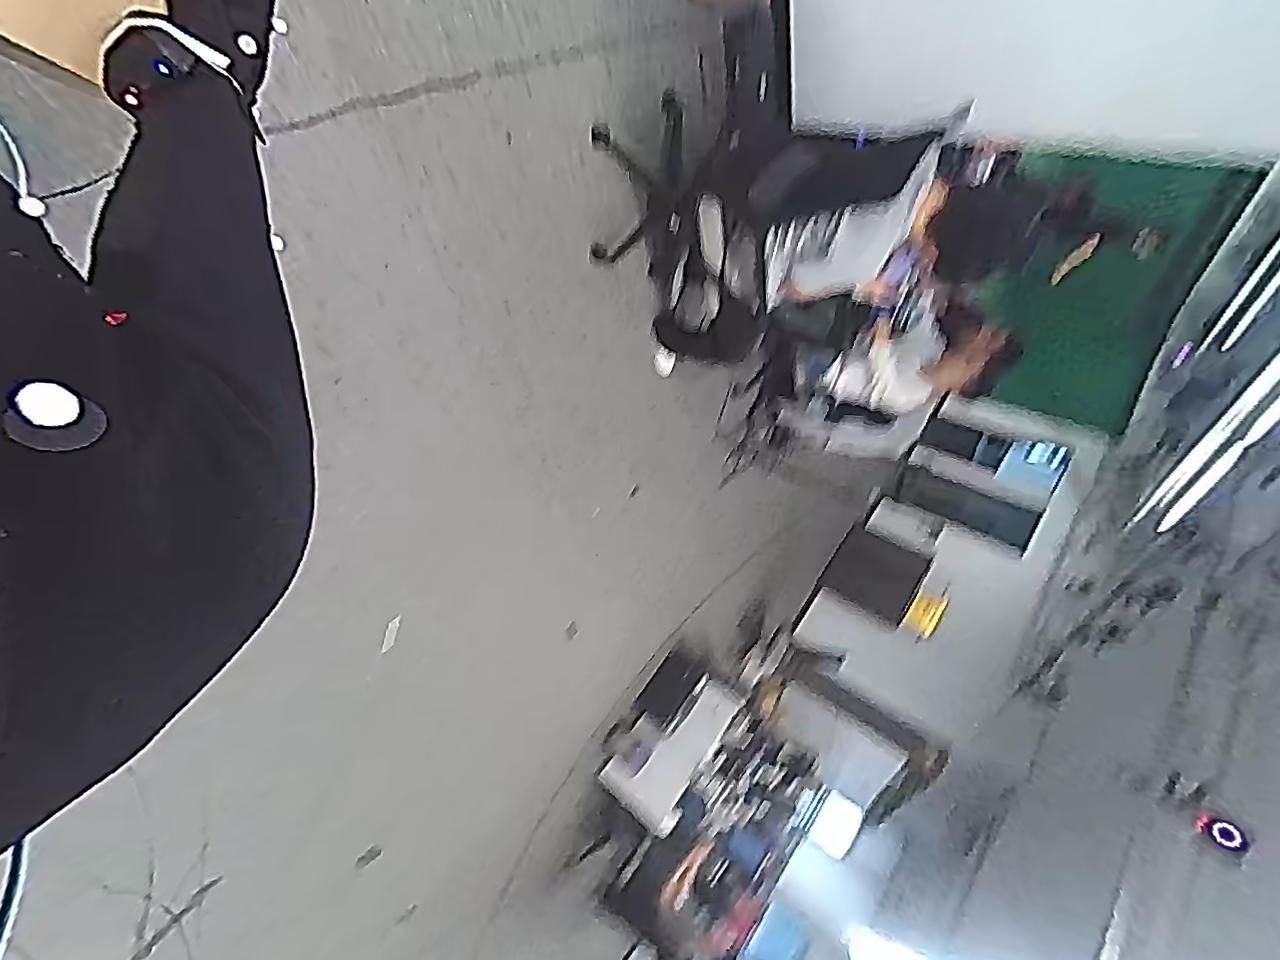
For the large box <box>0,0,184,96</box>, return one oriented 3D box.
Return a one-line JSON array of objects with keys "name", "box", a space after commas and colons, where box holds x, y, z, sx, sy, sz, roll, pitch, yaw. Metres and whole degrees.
[{"name": "large box", "box": [-0.589, -0.549, 0.362, 0.408, 0.320, 0.320, 5, 113, -58]}]
